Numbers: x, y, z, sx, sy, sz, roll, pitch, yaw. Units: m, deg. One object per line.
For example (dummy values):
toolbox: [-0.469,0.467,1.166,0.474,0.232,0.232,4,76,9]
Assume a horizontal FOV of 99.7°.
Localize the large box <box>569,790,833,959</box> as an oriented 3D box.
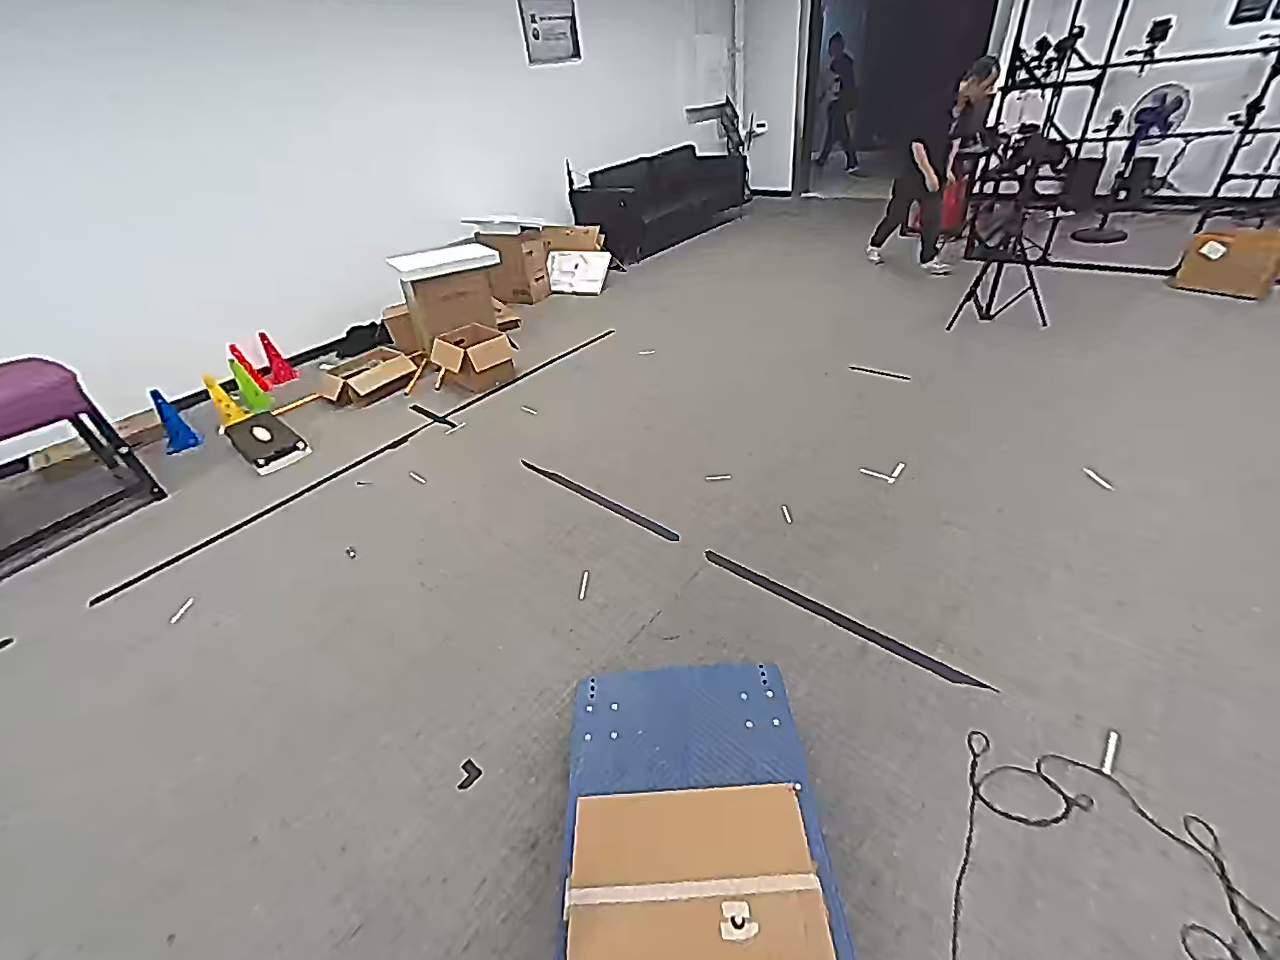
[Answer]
large box: [0.097,0.796,0.961,0.408,0.320,0.320,-5,37,2]
